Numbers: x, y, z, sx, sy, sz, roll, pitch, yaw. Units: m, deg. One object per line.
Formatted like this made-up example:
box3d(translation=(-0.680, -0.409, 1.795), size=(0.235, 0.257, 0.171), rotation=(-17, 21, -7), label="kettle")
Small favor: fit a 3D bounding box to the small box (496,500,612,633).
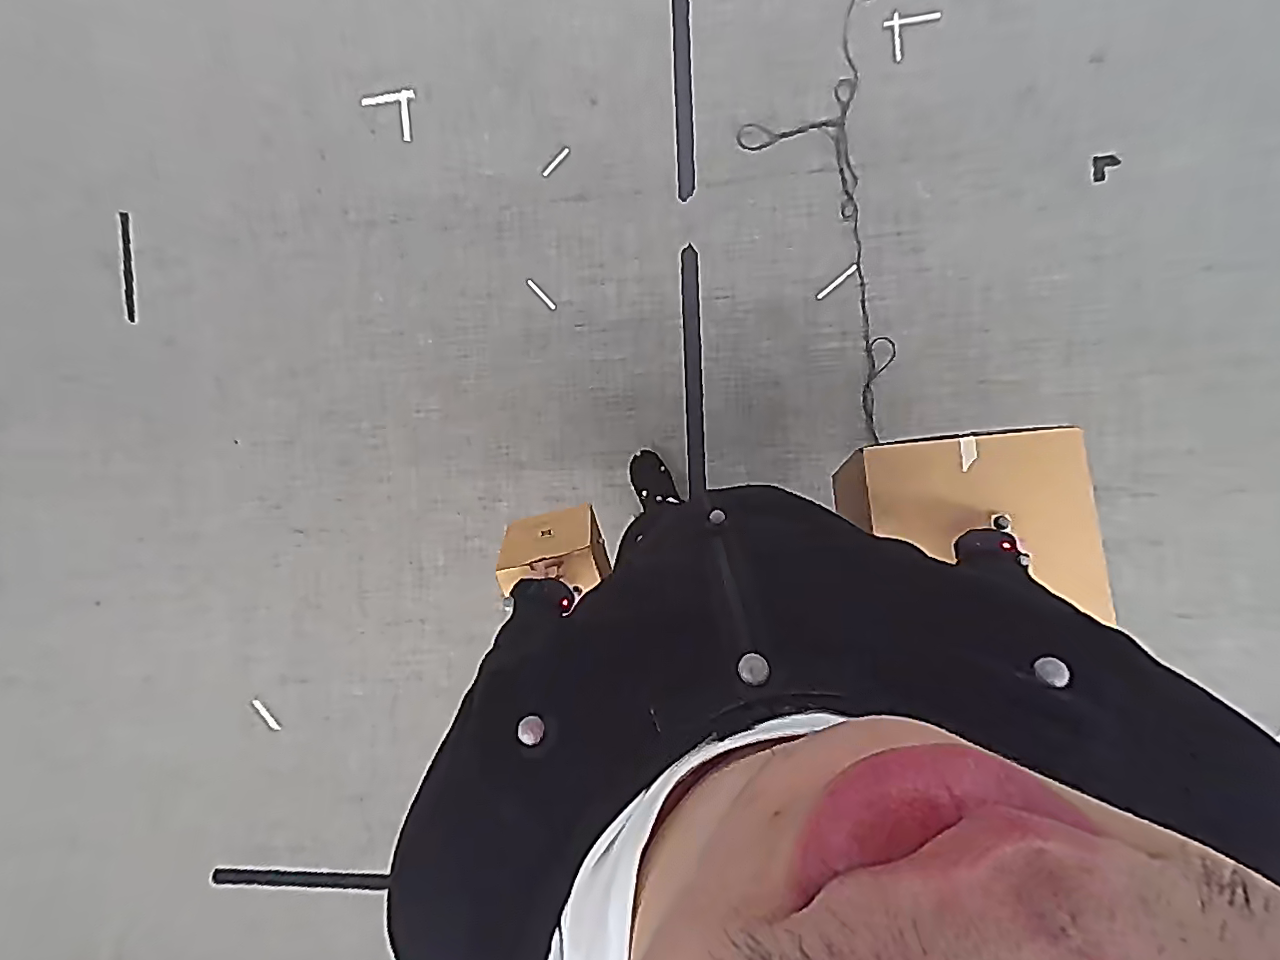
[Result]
box3d(translation=(-0.152, 0.164, 1.009), size=(0.168, 0.179, 0.176), rotation=(-14, 113, 1), label="small box")
